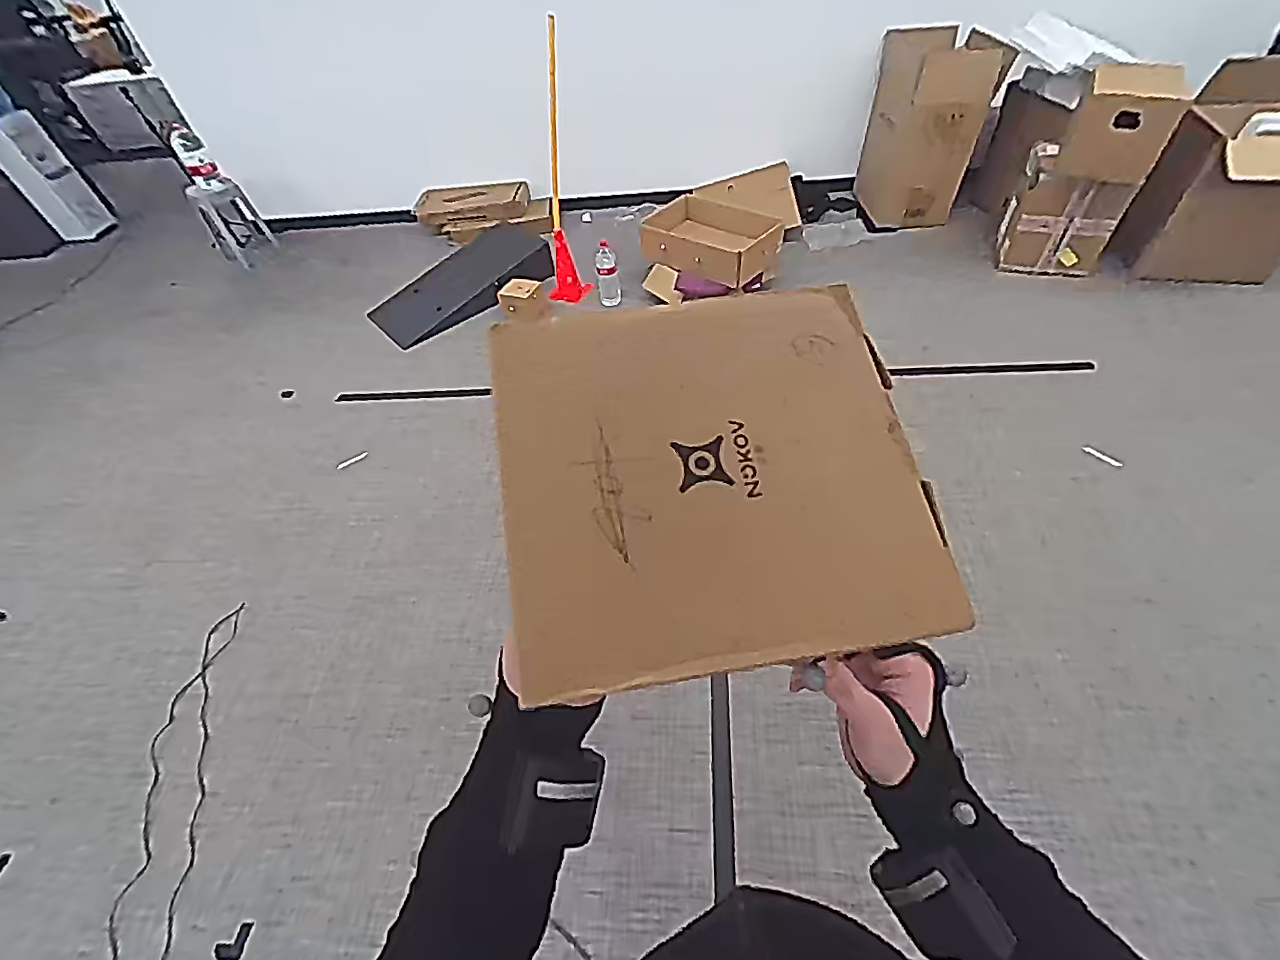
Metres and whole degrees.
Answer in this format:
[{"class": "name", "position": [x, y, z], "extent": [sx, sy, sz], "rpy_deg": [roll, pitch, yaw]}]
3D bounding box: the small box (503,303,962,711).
[{"class": "small box", "position": [0.031, 0.027, 0.311], "extent": [0.179, 0.176, 0.168], "rpy_deg": [-9, 69, -4]}]
